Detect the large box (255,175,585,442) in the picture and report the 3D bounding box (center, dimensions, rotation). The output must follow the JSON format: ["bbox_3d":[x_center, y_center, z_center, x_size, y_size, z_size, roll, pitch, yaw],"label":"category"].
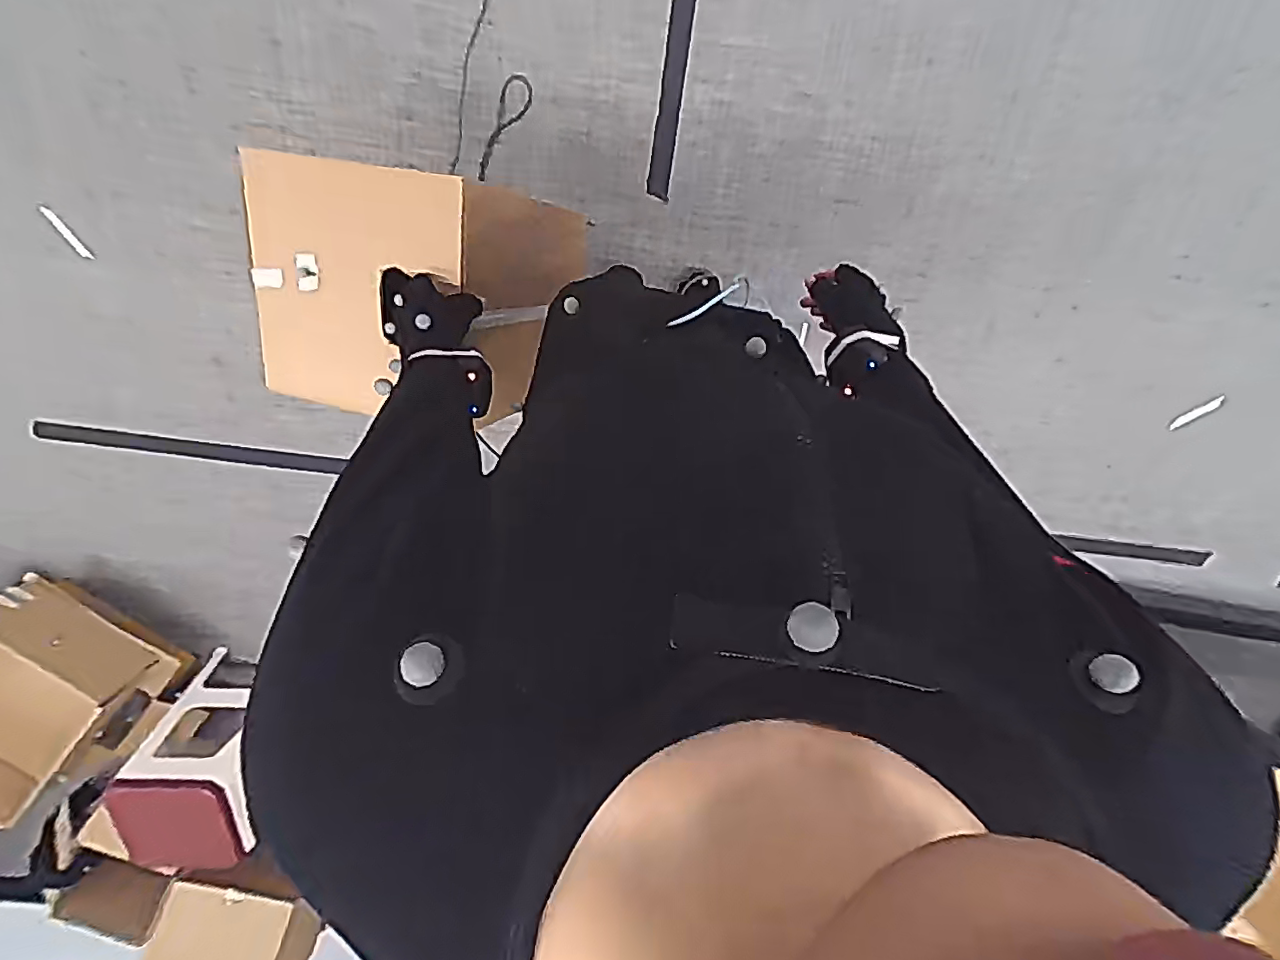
[{"bbox_3d":[-0.312,-0.289,0.884,0.320,0.408,0.320,13,114,10],"label":"large box"}]
